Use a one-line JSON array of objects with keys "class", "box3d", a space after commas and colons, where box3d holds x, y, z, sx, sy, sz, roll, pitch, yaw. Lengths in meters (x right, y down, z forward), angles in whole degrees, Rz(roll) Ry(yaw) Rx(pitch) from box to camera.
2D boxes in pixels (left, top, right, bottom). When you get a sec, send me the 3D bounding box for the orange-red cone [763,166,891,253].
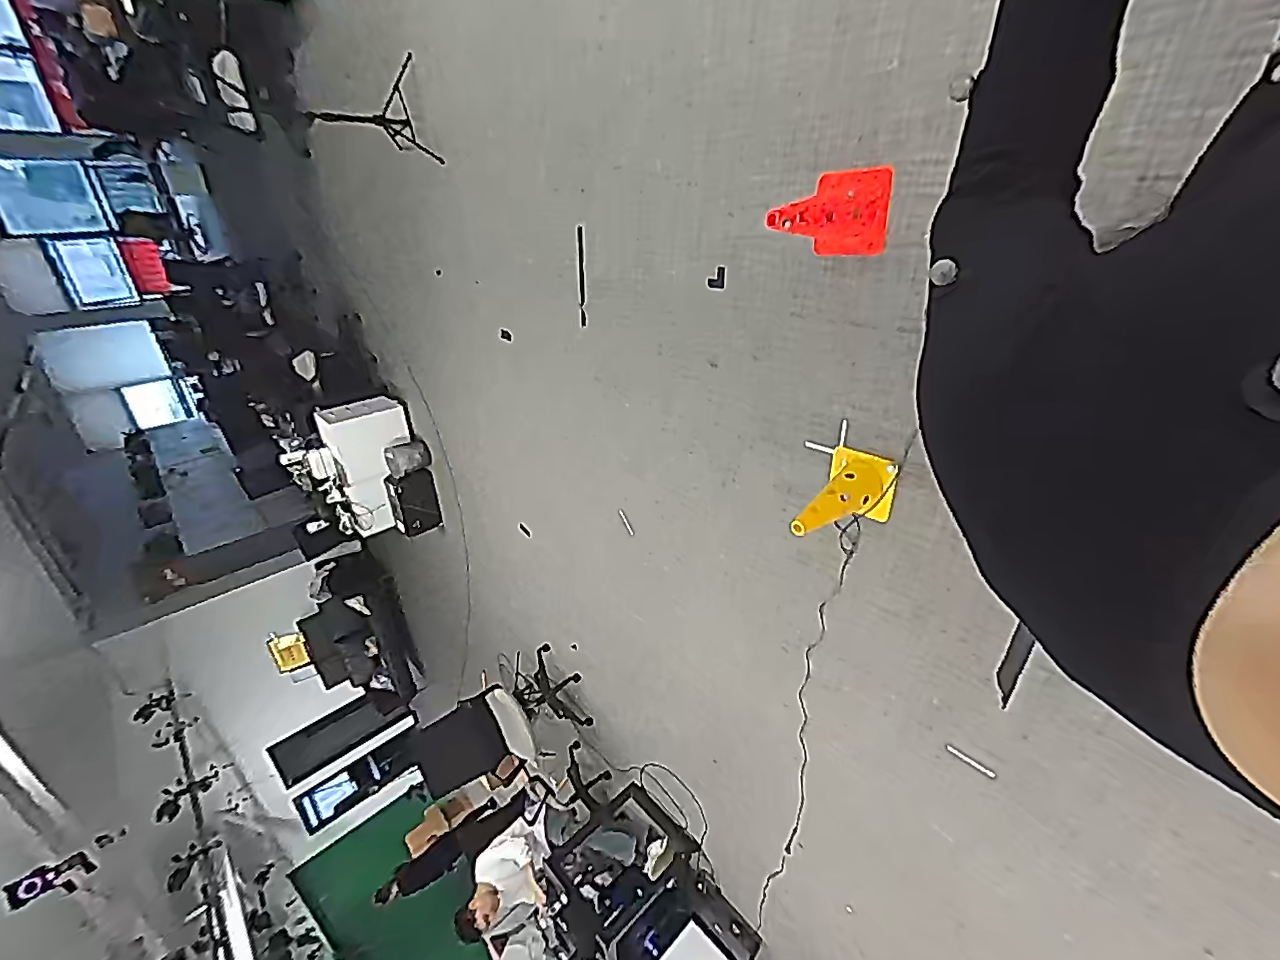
[{"class": "orange-red cone", "box3d": [0.416, -0.633, 1.295, 0.198, 0.360, 0.199, 24, 128, 42]}]
